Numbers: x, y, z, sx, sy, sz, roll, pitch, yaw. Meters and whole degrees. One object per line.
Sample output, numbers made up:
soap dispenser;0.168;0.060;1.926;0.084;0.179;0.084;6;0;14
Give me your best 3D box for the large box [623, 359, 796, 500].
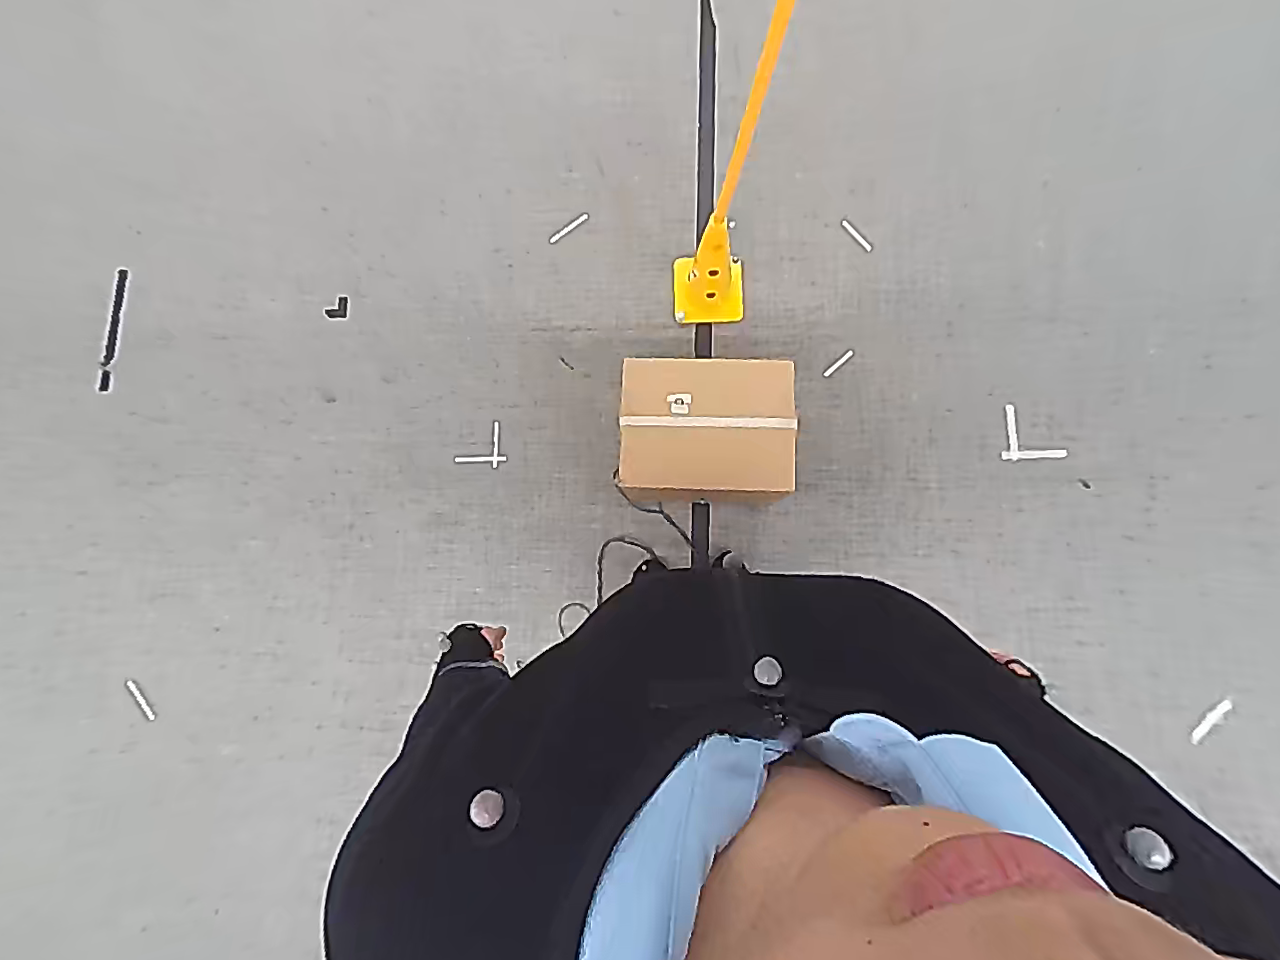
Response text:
large box;0.174;-0.113;1.409;0.408;0.320;0.320;1;81;5
